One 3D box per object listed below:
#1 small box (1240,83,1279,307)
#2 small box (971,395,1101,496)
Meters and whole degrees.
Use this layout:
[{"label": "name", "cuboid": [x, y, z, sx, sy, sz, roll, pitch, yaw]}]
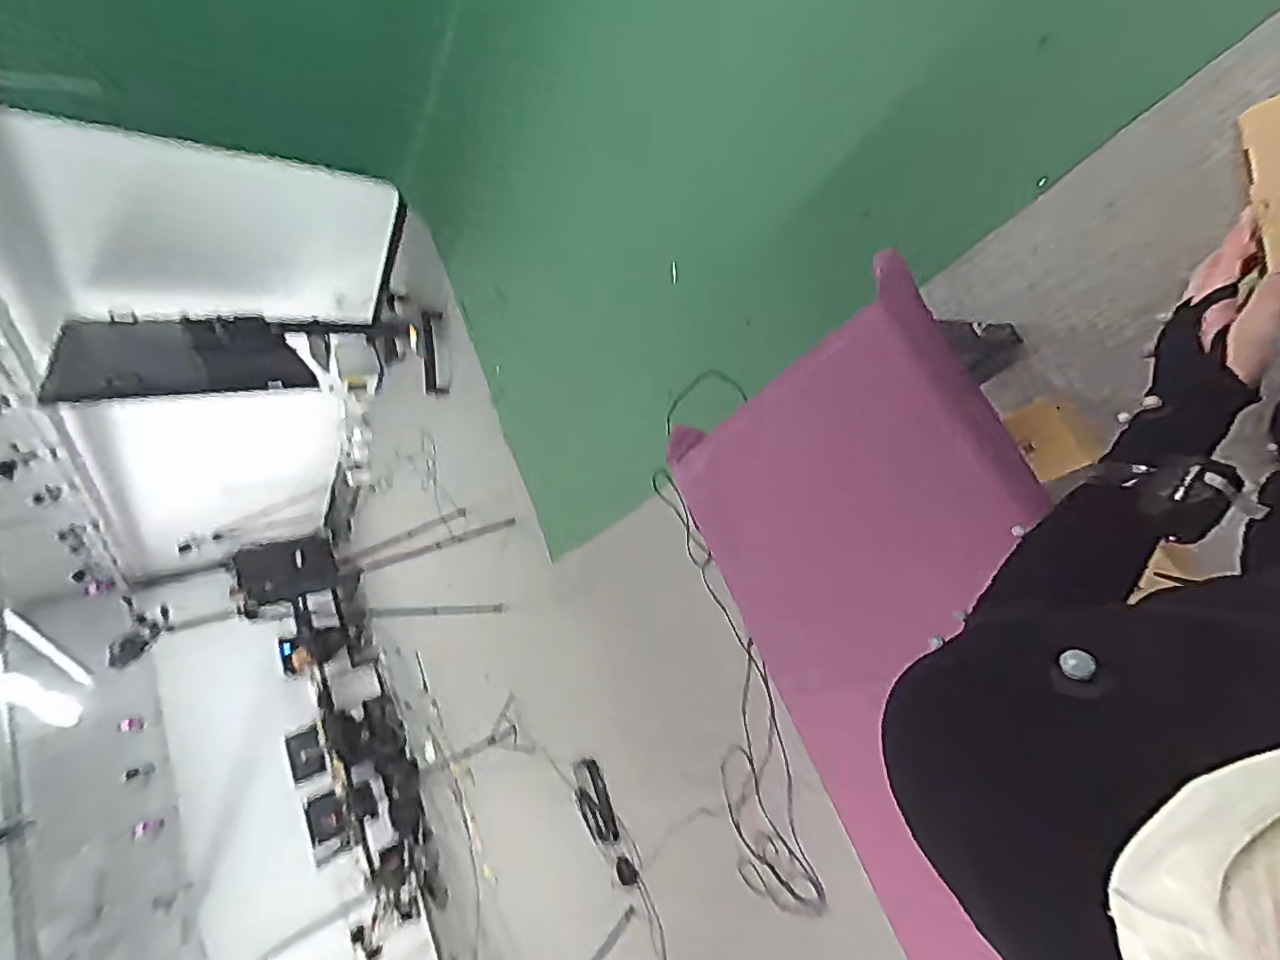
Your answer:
[{"label": "small box", "cuboid": [0.610, -0.244, 0.422, 0.179, 0.176, 0.168, -8, 93, 48]}, {"label": "small box", "cuboid": [0.937, -0.085, 1.277, 0.168, 0.176, 0.179, -41, 67, 47]}]
